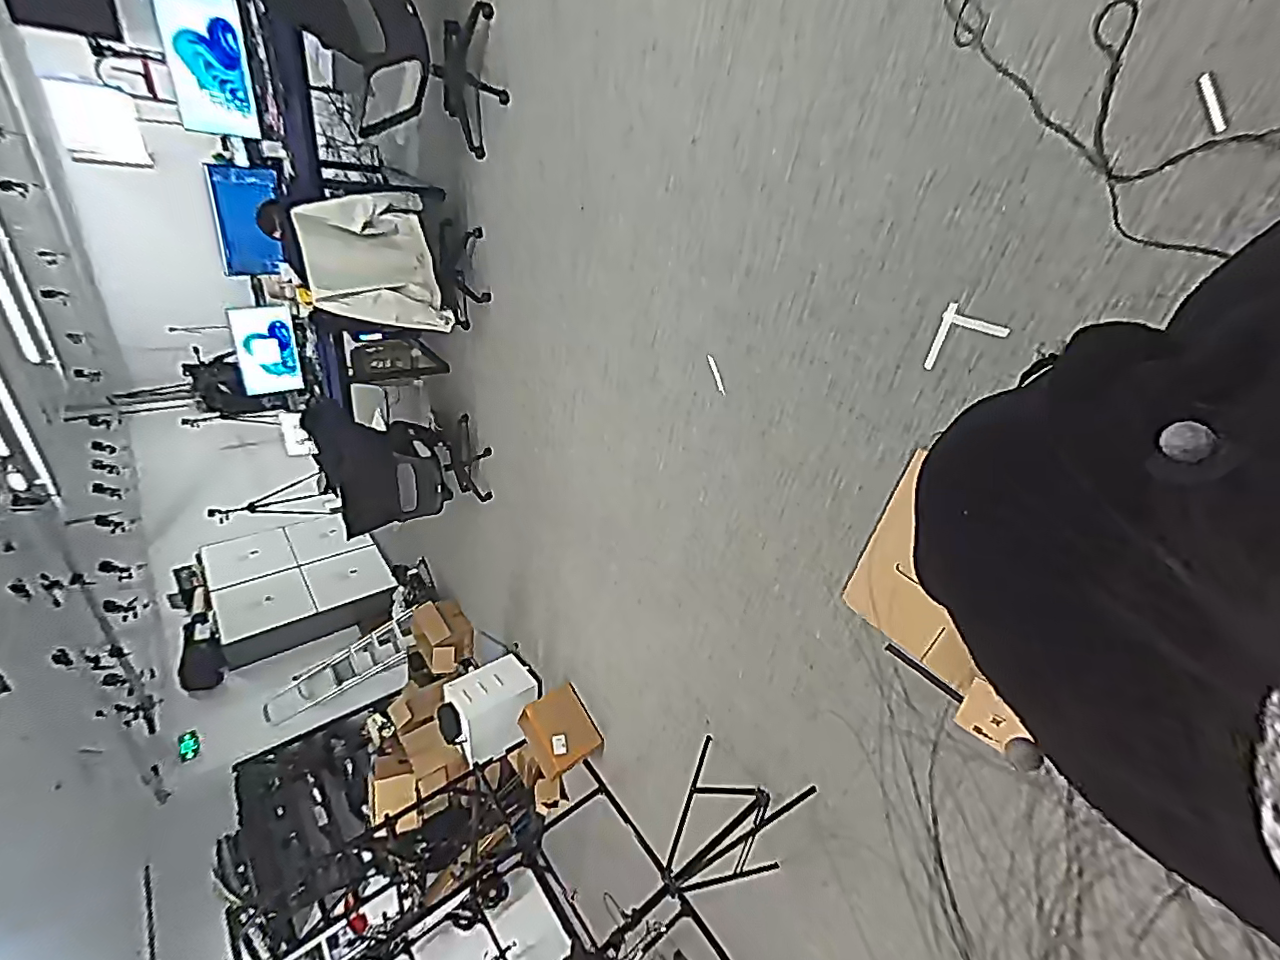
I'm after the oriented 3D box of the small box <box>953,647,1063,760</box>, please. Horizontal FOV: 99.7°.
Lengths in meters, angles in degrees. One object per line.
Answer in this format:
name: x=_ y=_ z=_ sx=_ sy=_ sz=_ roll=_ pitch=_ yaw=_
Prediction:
small box: x=0.953 y=0.567 z=1.396 sx=0.168 sy=0.176 sz=0.179 roll=32 pitch=127 yaw=40
